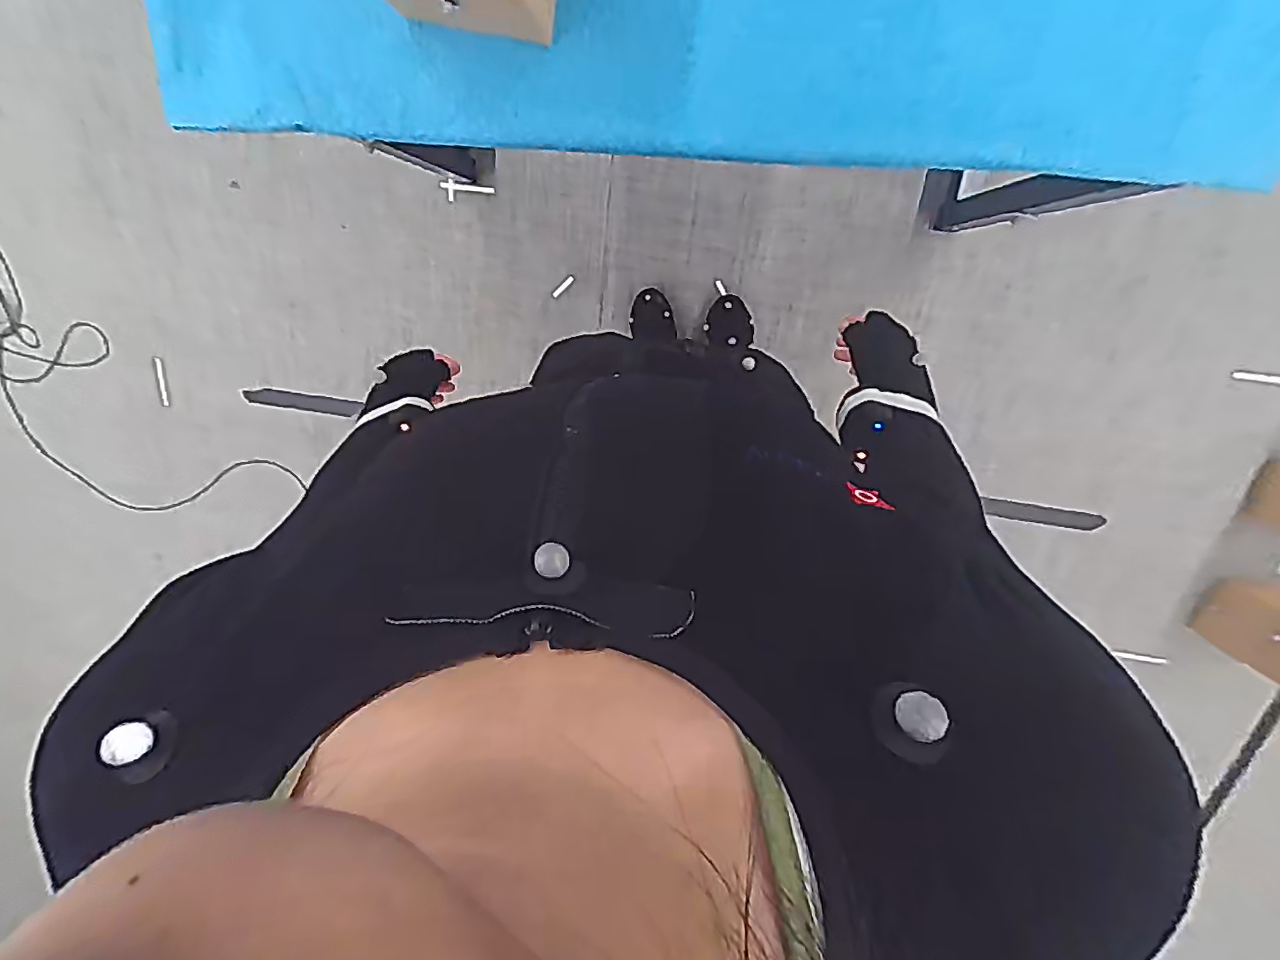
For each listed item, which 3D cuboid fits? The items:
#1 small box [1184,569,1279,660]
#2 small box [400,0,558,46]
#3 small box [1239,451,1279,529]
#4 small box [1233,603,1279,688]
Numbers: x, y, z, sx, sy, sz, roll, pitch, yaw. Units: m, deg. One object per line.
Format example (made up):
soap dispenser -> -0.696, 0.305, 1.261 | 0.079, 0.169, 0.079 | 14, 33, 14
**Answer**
small box -> 1.604, 0.361, 1.416 | 0.168, 0.176, 0.179 | 11, 113, 1
small box -> -0.167, -0.536, 0.482 | 0.168, 0.176, 0.179 | 12, 112, 1
small box -> 1.617, 0.037, 1.291 | 0.168, 0.176, 0.179 | 4, 112, 5
small box -> 1.585, 0.409, 1.261 | 0.179, 0.176, 0.168 | 12, 110, 3
